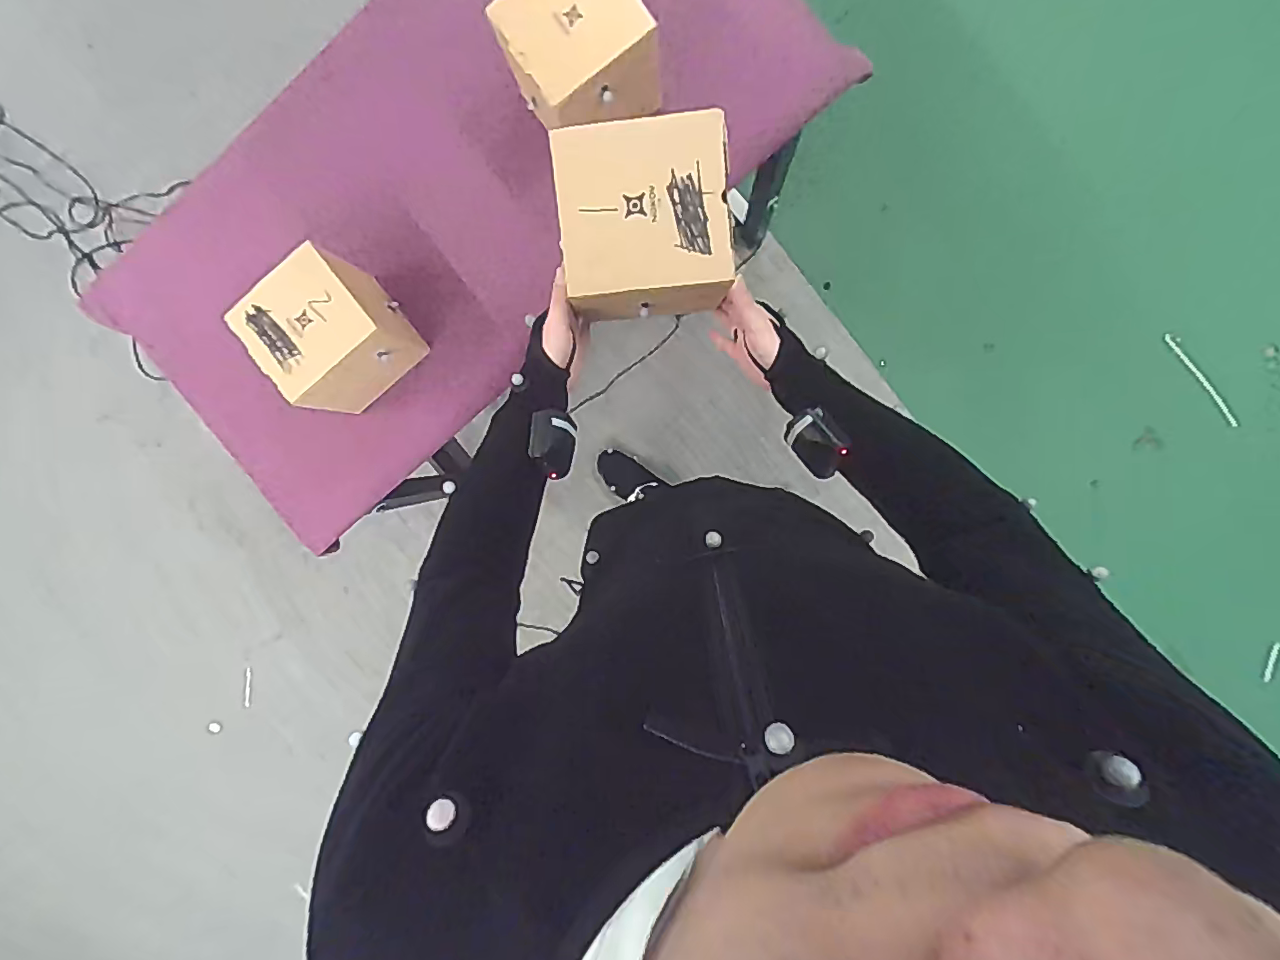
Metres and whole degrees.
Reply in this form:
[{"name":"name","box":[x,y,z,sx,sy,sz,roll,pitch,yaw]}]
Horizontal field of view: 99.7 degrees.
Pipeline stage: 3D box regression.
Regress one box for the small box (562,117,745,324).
[{"name":"small box","box":[0.016,-0.281,0.623,0.179,0.176,0.168,-5,97,2]}]

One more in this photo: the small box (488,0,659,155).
[{"name":"small box","box":[-0.086,-0.616,0.801,0.179,0.176,0.168,-35,90,6]}]
